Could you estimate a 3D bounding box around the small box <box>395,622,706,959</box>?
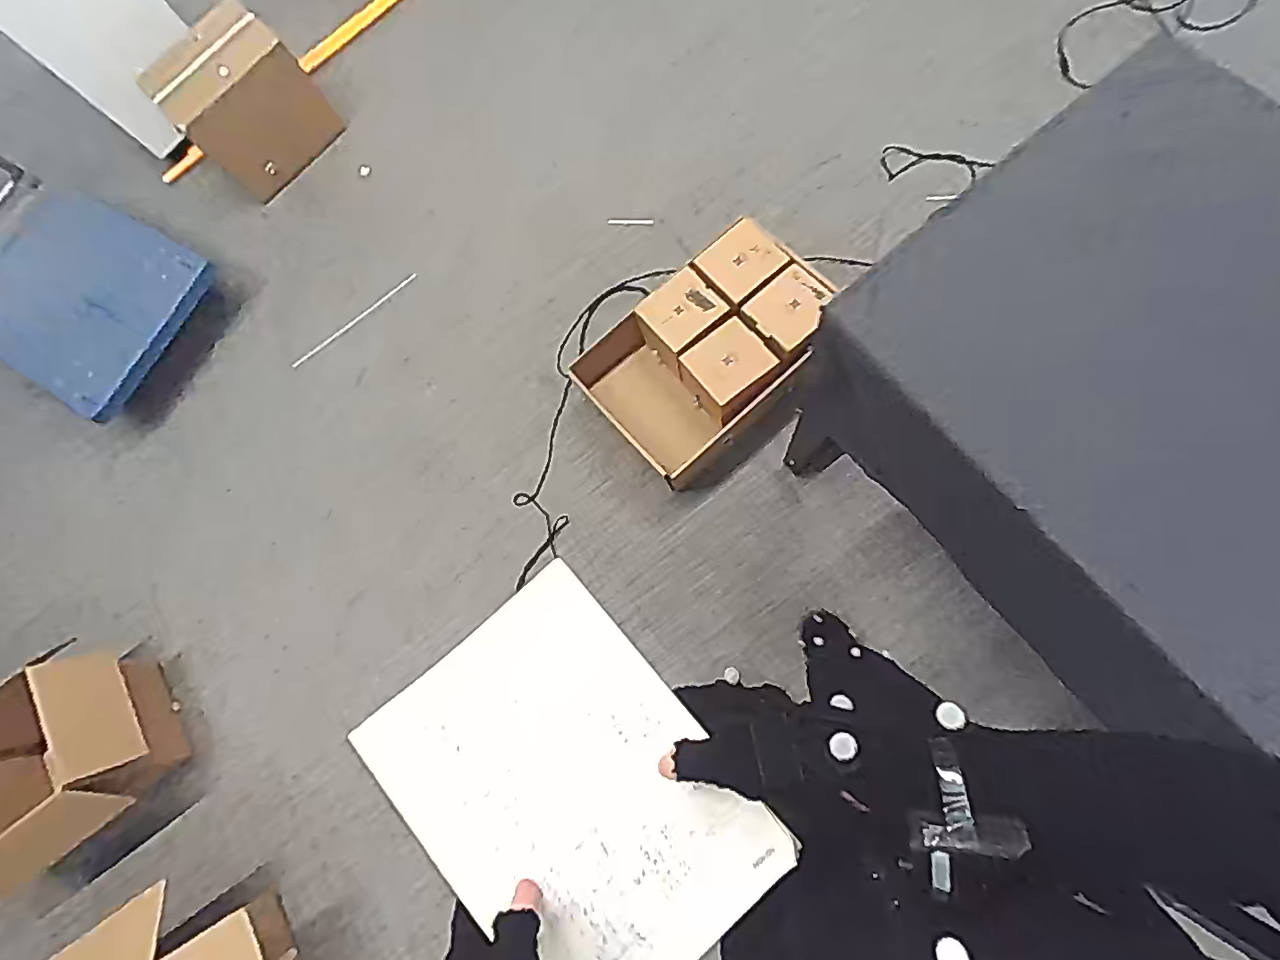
[{"bbox_3d":[-0.066,0.242,0.477,0.179,0.176,0.168,-44,79,-8],"label":"small box"}]
